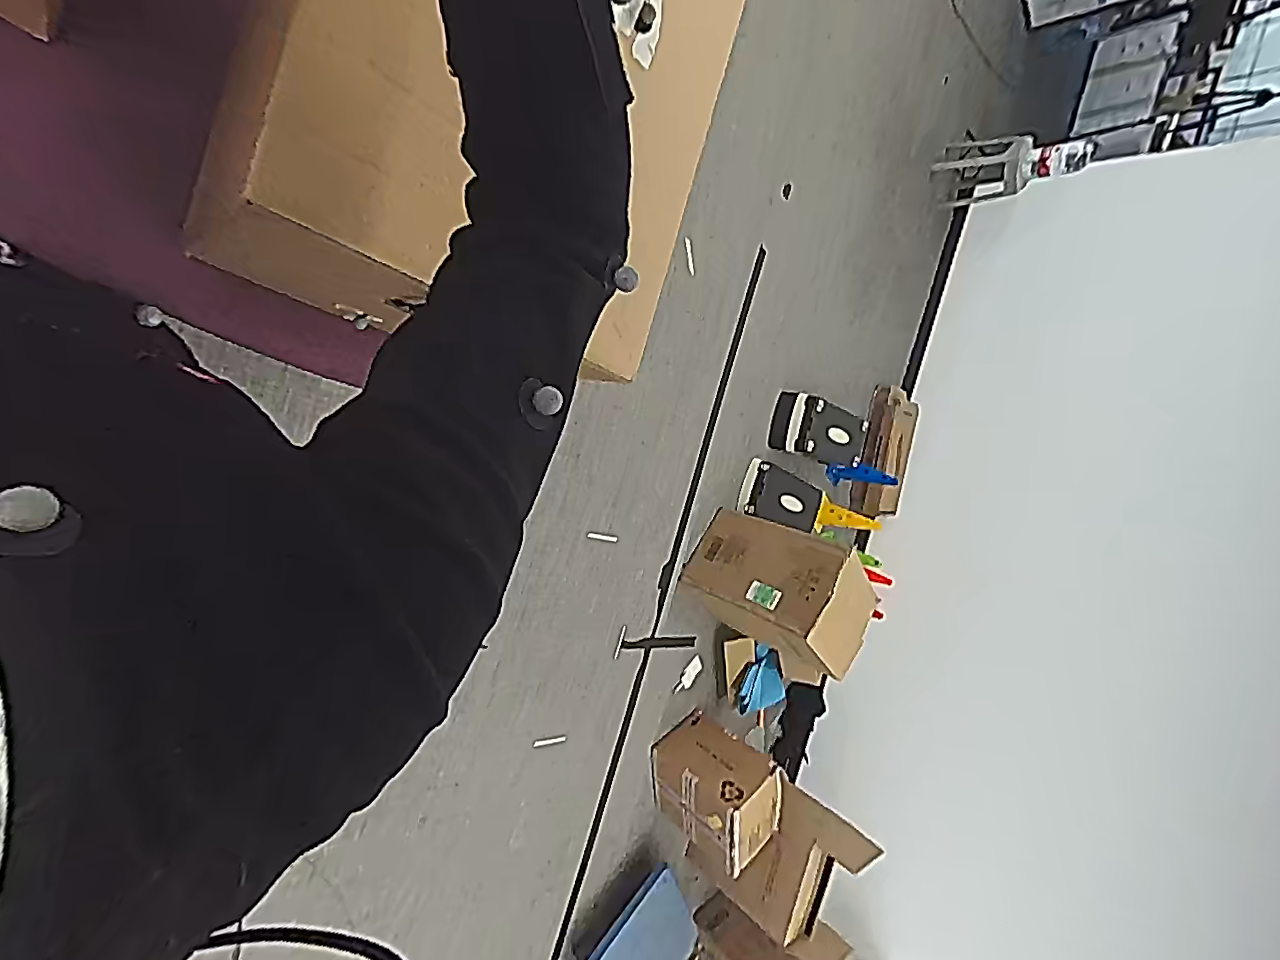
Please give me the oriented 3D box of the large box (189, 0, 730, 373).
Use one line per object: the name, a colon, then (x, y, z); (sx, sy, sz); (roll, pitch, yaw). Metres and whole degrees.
large box: (-0.163, -0.341, 0.500); (0.320, 0.320, 0.408); (15, 90, -48)
